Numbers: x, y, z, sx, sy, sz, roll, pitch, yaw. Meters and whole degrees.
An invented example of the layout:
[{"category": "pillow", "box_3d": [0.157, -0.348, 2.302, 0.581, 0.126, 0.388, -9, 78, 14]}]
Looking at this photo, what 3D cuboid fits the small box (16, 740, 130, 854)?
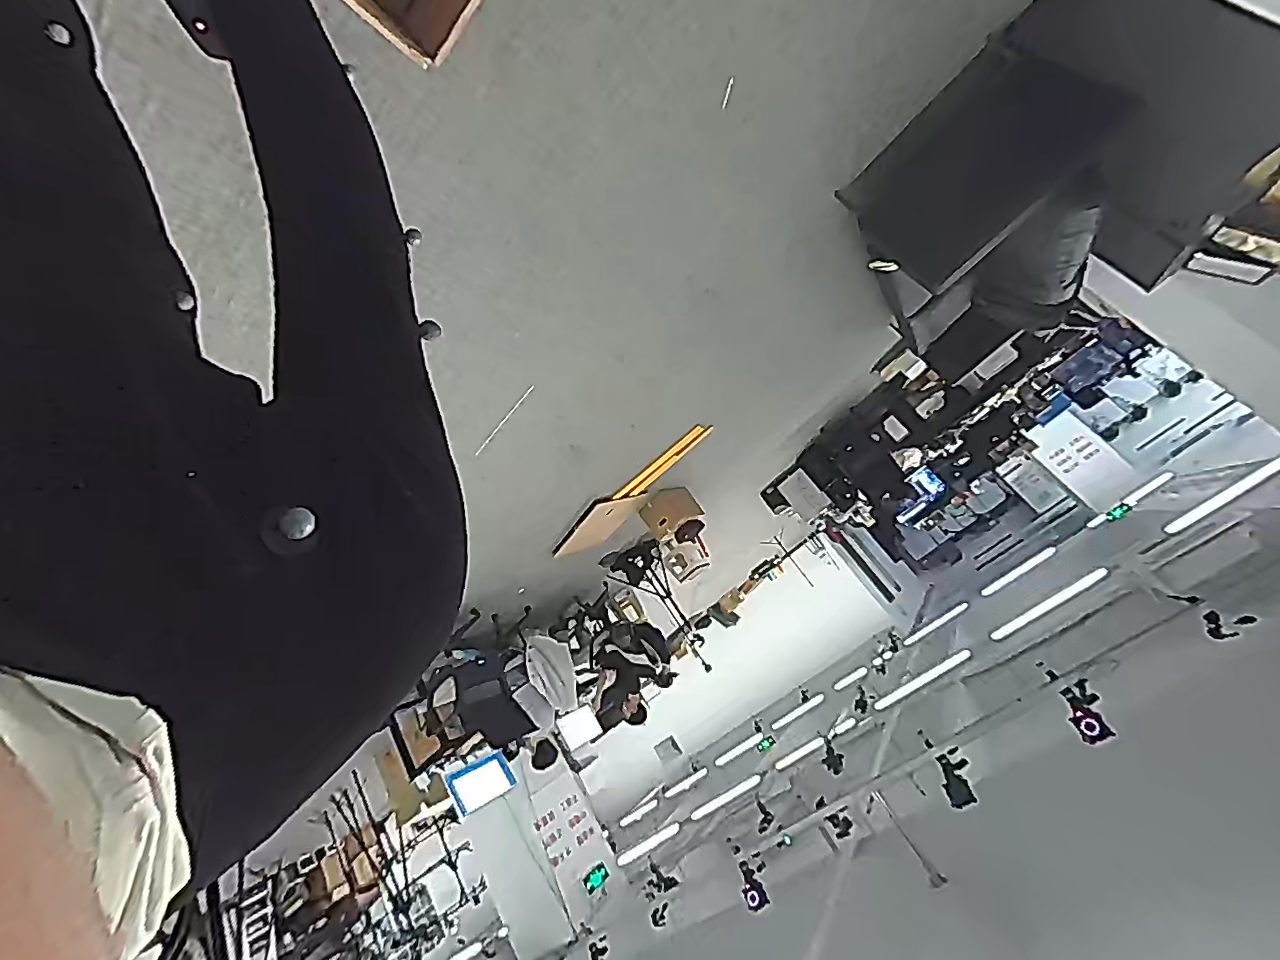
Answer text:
[{"category": "small box", "box_3d": [-1.459, 0.805, 1.388, 0.179, 0.176, 0.168, -44, 157, 21]}]
